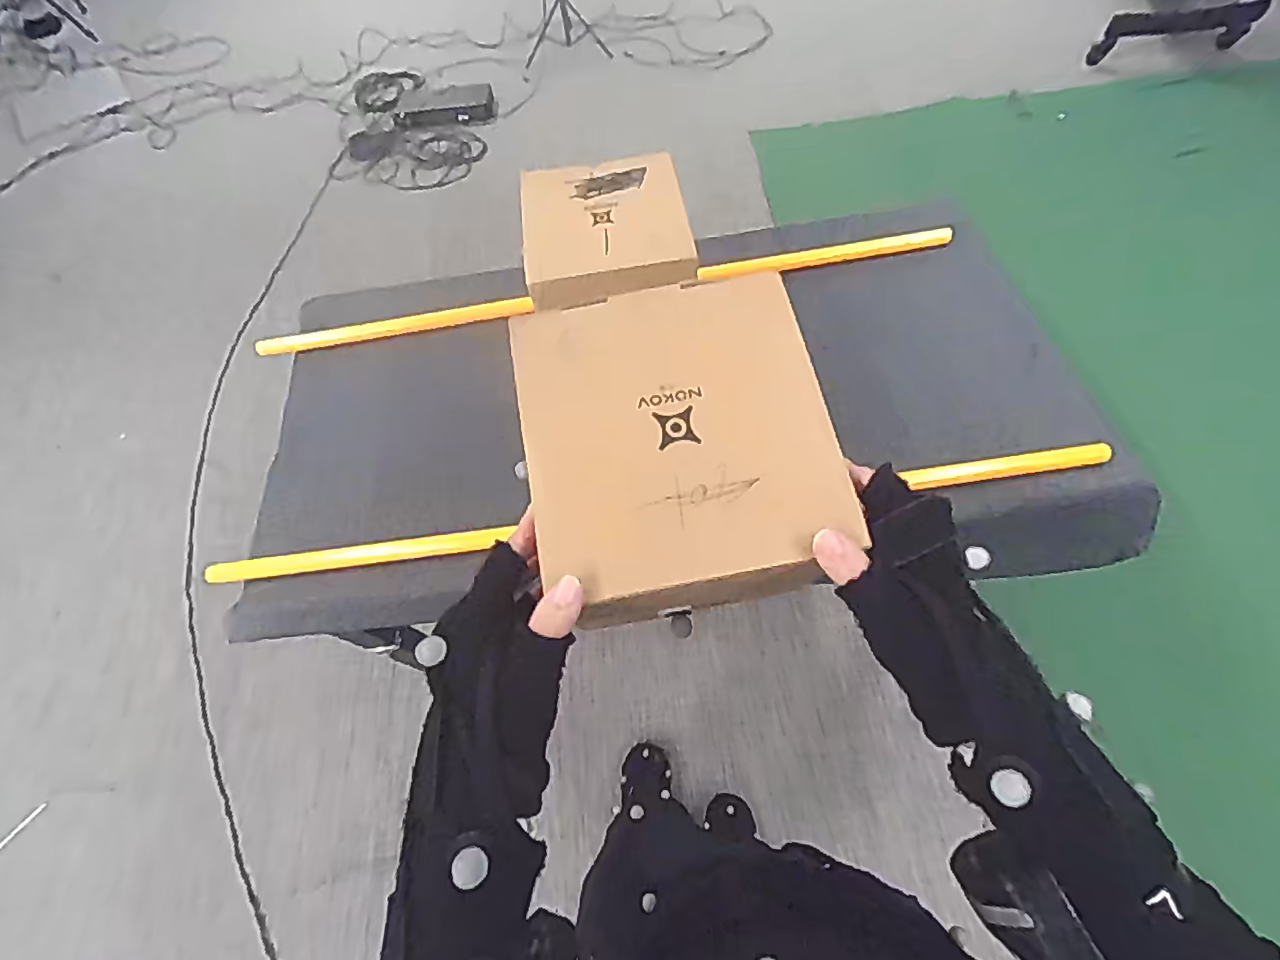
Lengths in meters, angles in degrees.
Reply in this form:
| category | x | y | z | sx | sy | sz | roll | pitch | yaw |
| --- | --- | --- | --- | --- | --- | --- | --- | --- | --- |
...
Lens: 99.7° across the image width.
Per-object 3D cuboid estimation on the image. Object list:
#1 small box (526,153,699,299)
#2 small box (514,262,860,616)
| category | x | y | z | sx | sy | sz | roll | pitch | yaw |
| --- | --- | --- | --- | --- | --- | --- | --- | --- | --- |
| small box | -0.029 | -0.233 | 0.619 | 0.168 | 0.176 | 0.179 | -9 | 61 | 1 |
| small box | 0.020 | -0.013 | 0.374 | 0.168 | 0.176 | 0.179 | -11 | 72 | -1 |
